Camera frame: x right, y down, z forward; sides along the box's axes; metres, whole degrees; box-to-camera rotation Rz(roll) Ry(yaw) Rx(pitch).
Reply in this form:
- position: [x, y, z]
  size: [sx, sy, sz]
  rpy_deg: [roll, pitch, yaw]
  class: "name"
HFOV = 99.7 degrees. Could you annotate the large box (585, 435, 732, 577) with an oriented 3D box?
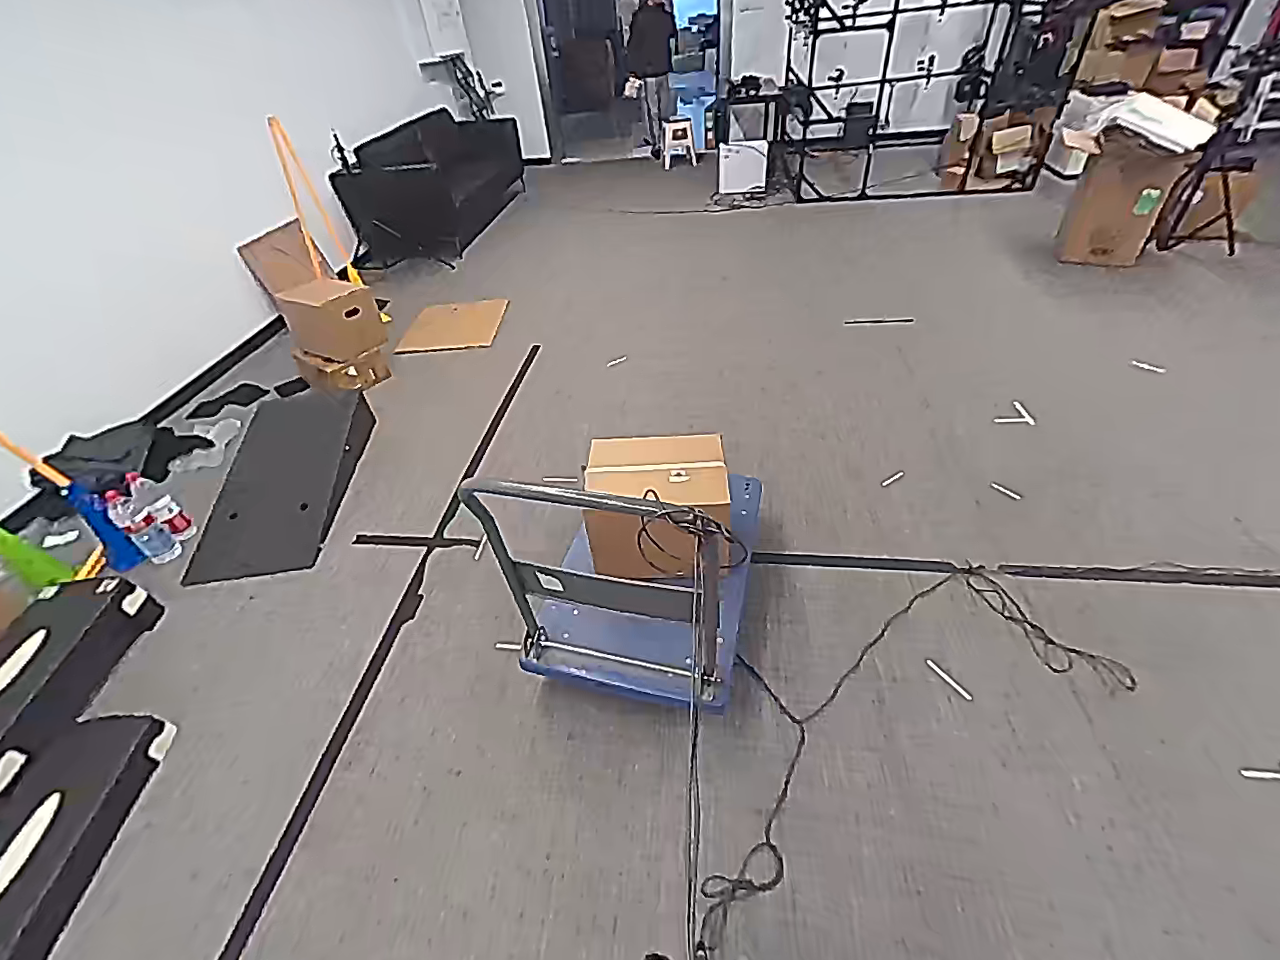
- position: [0.057, 0.081, 1.653]
  size: [0.408, 0.320, 0.320]
  rpy_deg: [-2, 42, 3]
  class: "large box"
